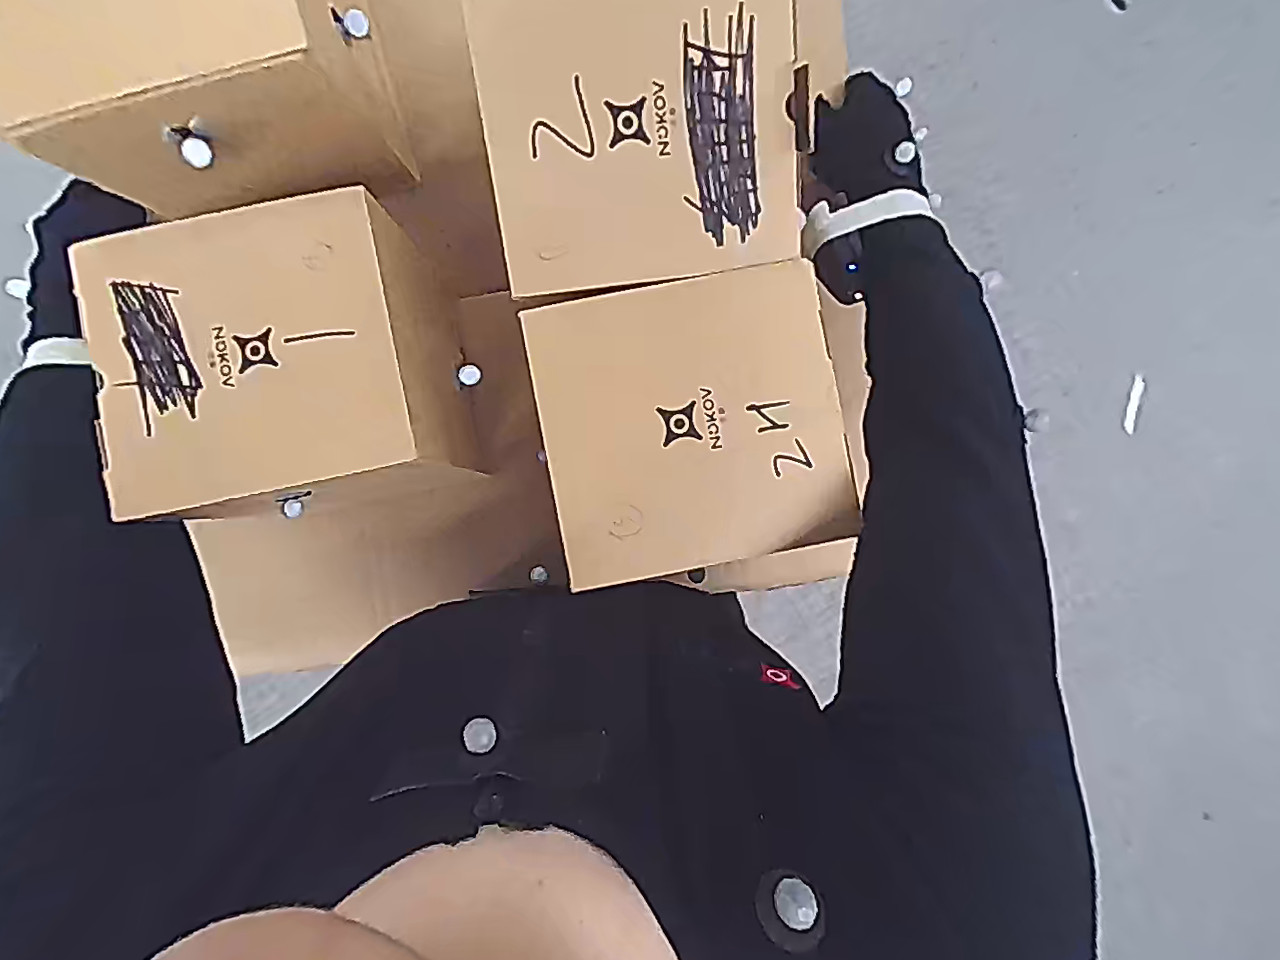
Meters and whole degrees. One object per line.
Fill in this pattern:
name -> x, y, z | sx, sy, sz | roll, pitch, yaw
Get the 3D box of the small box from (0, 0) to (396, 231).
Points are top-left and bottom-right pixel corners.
small box -> -0.285, -0.289, 0.351 | 0.179, 0.176, 0.168 | -16, 98, 1
